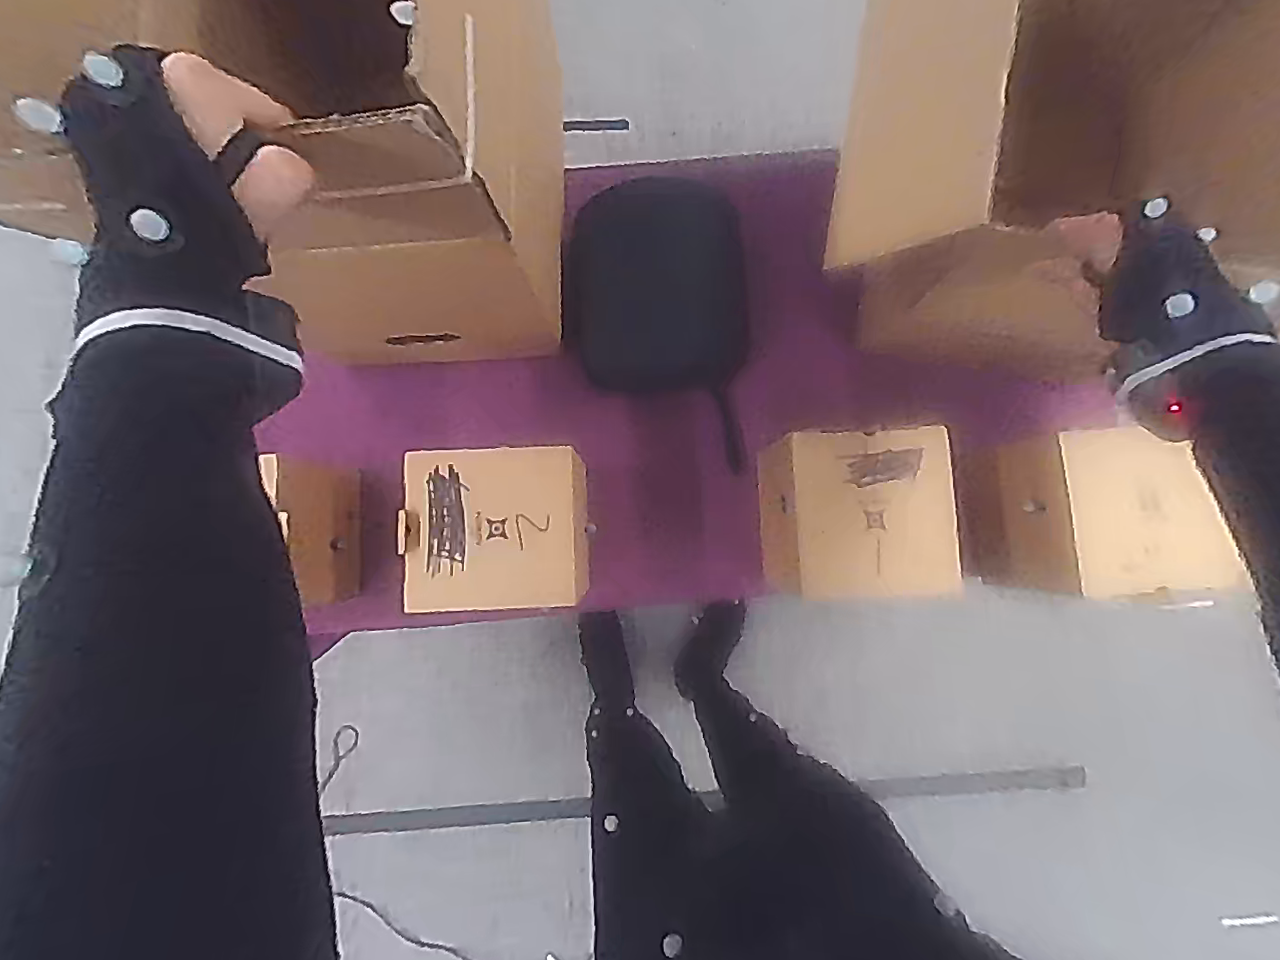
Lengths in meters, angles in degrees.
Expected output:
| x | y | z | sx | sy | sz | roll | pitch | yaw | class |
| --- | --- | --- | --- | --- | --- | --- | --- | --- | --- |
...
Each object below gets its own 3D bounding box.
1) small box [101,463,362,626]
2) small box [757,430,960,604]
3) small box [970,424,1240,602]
| x | y | z | sx | sy | sz | roll | pitch | yaw | class |
| --- | --- | --- | --- | --- | --- | --- | --- | --- | --- |
| -0.455 | 0.073 | 0.629 | 0.179 | 0.176 | 0.168 | -2 | 84 | -2 | small box |
| 0.238 | 0.045 | 0.633 | 0.168 | 0.176 | 0.179 | -3 | 85 | 0 | small box |
| 0.518 | 0.041 | 0.633 | 0.168 | 0.176 | 0.179 | -4 | 85 | 0 | small box |
